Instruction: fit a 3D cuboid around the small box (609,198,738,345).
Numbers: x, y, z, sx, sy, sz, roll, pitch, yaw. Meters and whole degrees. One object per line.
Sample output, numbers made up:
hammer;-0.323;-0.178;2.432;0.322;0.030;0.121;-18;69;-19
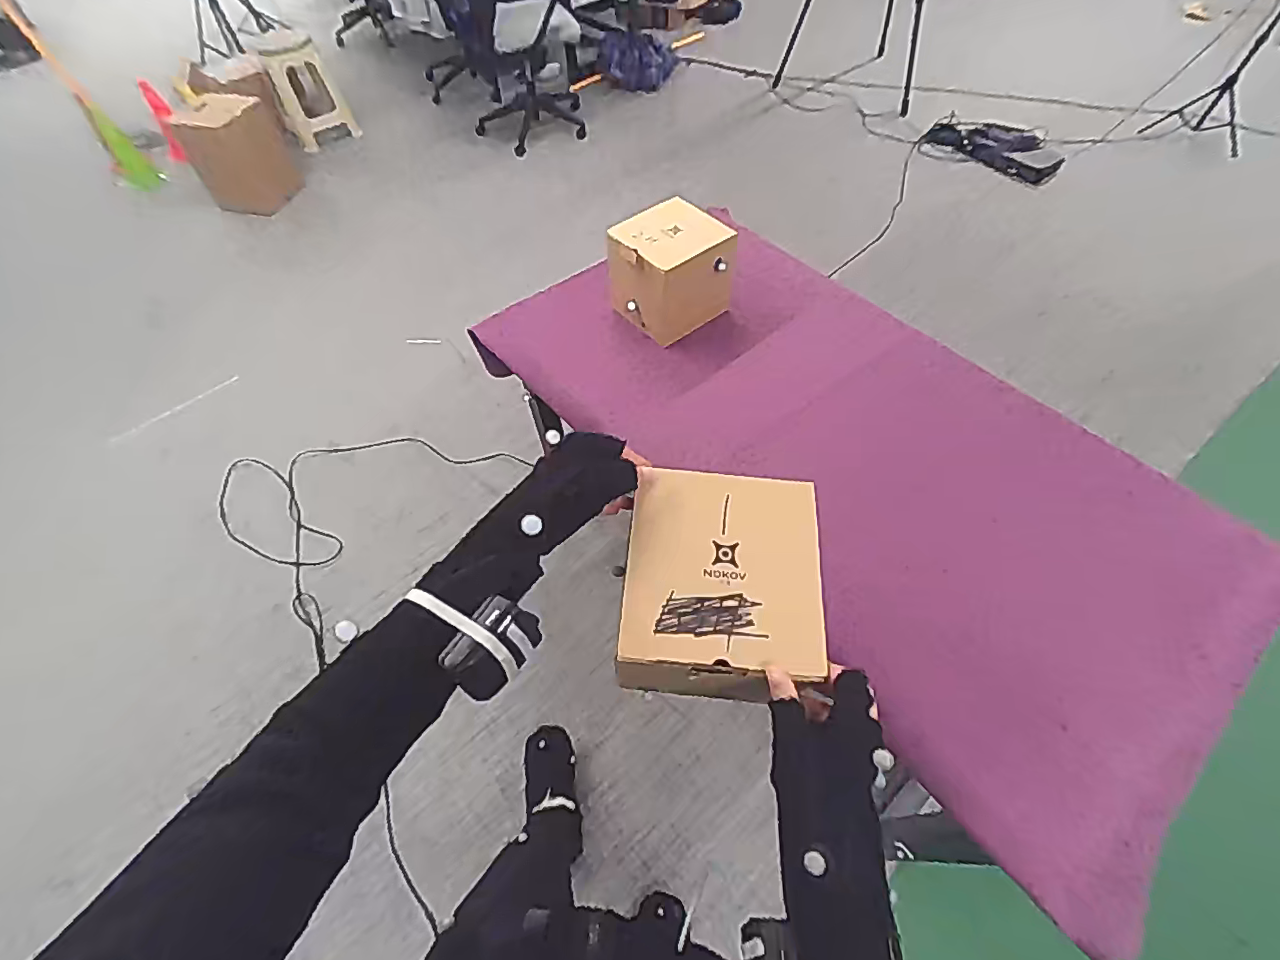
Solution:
small box;0.061;-0.395;1.030;0.179;0.176;0.168;-35;61;-19

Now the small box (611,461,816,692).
small box;0.065;0.103;0.535;0.168;0.176;0.179;6;61;1
